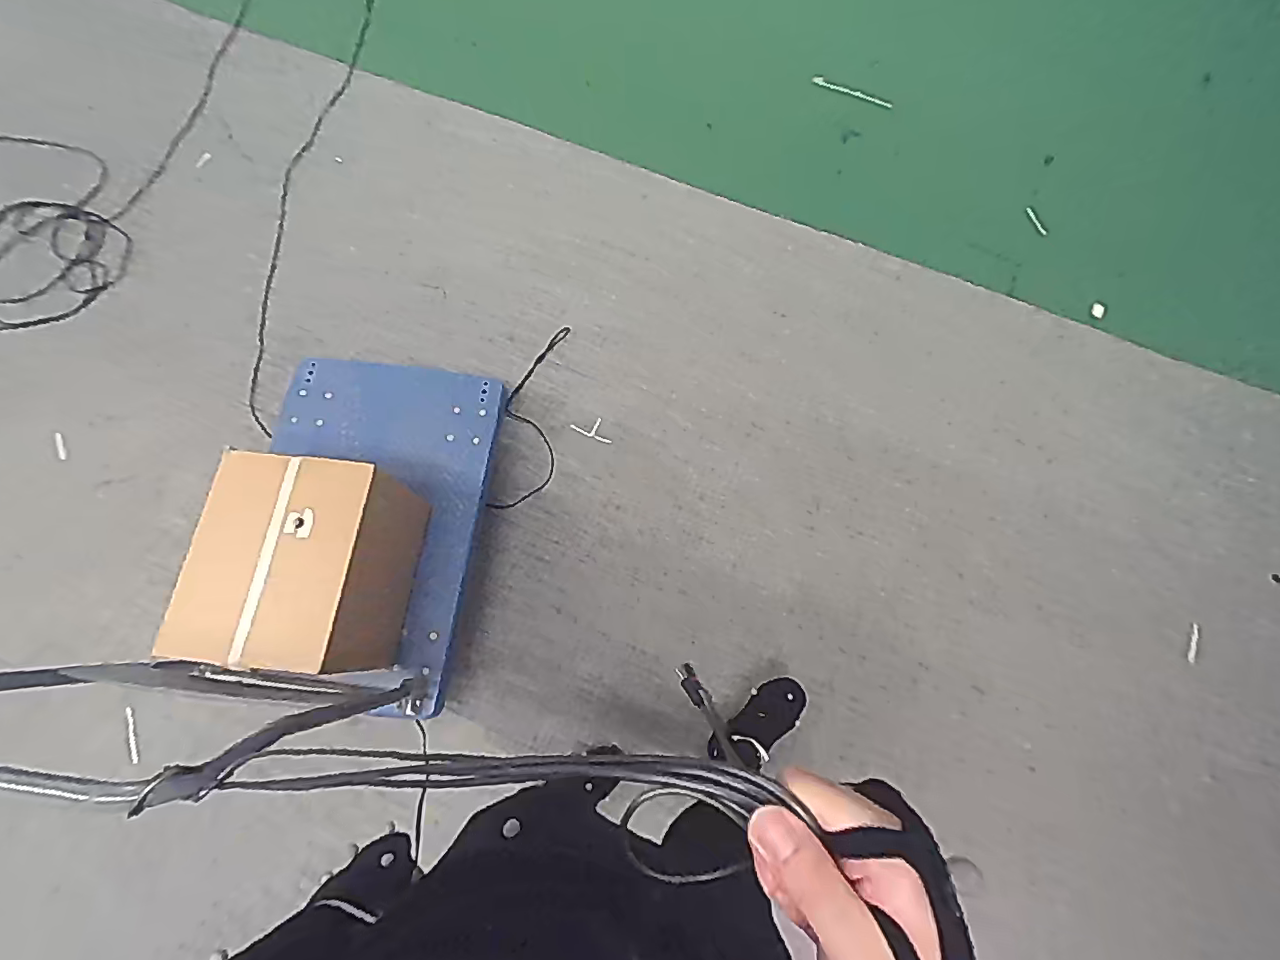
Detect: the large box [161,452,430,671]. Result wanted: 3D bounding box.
[{"bbox_3d":[-0.697,0.192,1.171,0.320,0.320,0.408,6,71,1],"label":"large box"}]
